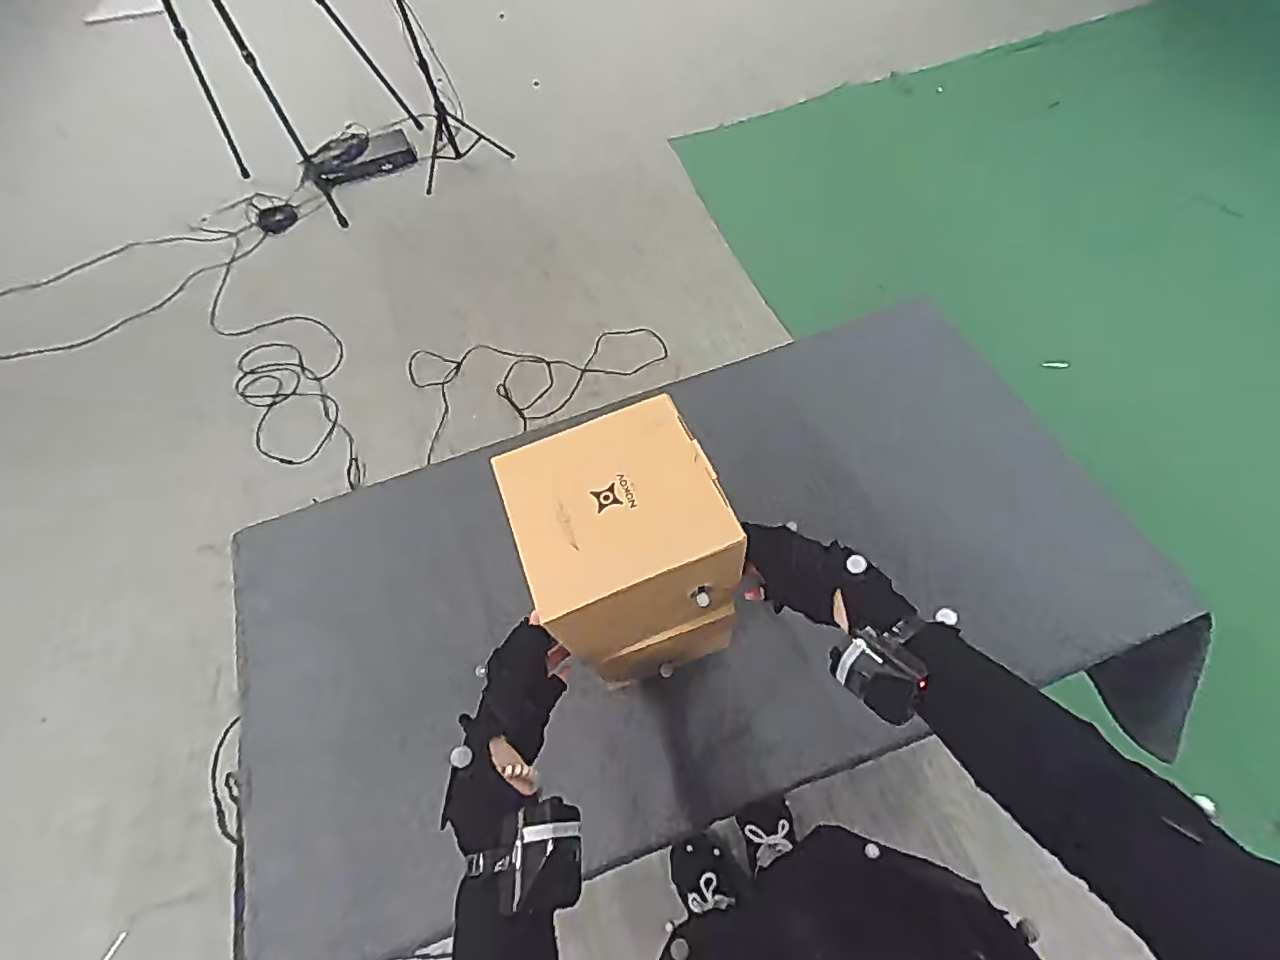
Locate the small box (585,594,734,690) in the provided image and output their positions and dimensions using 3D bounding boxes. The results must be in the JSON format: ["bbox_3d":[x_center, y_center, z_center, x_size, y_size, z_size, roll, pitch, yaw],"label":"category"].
[{"bbox_3d":[0.004,0.136,0.668,0.168,0.176,0.179,-19,60,-4],"label":"small box"}]

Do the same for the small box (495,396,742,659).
[{"bbox_3d":[-0.018,0.053,0.528,0.179,0.176,0.168,-21,59,-5],"label":"small box"}]
